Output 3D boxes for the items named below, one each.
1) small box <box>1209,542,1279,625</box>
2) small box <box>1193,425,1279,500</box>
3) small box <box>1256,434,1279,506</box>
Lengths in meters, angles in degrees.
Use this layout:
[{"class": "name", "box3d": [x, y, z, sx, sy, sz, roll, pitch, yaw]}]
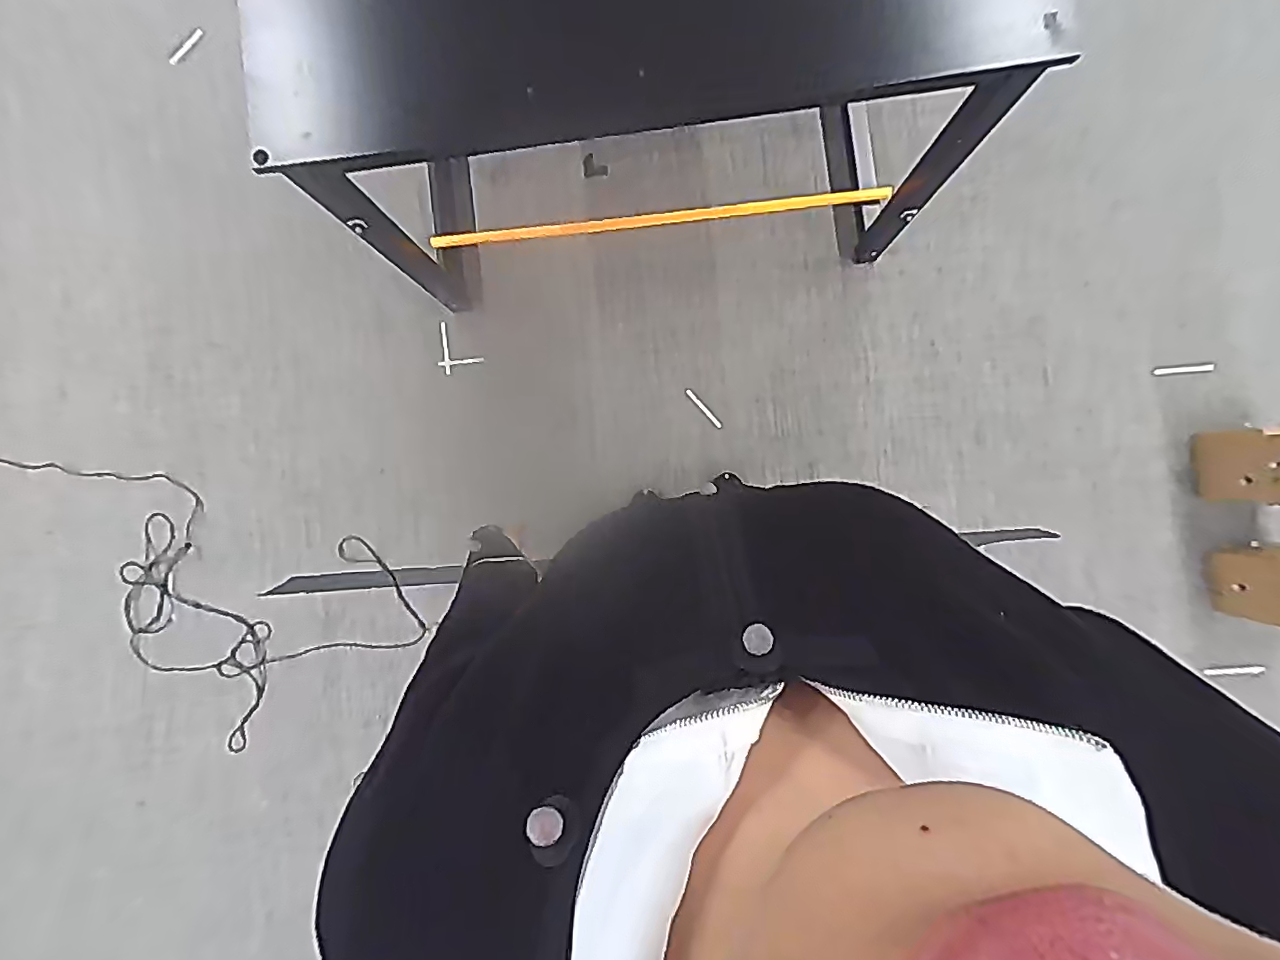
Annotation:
[{"class": "small box", "box3d": [1.574, 0.252, 1.337, 0.179, 0.176, 0.168, -8, 89, 4]}, {"class": "small box", "box3d": [1.536, -0.044, 1.339, 0.168, 0.176, 0.179, -4, 89, 3]}, {"class": "small box", "box3d": [1.525, -0.029, 1.176, 0.179, 0.176, 0.168, -4, 88, 4]}]
